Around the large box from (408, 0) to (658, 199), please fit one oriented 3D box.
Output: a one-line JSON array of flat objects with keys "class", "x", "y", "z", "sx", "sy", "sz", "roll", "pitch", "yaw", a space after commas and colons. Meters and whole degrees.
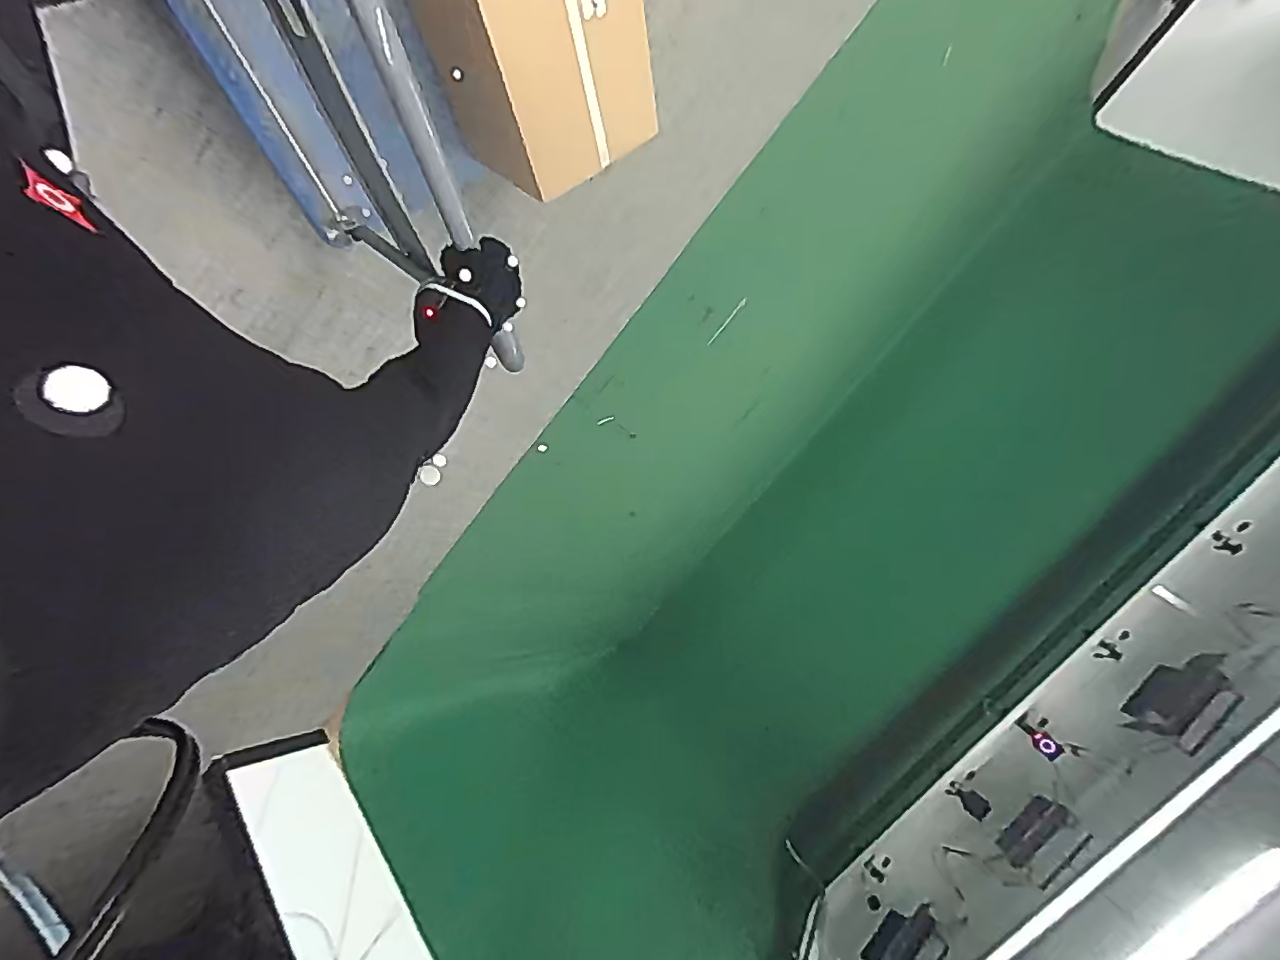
[{"class": "large box", "x": -0.204, "y": -0.841, "z": 1.021, "sx": 0.320, "sy": 0.320, "sz": 0.408, "roll": -40, "pitch": 150, "yaw": -13}]
